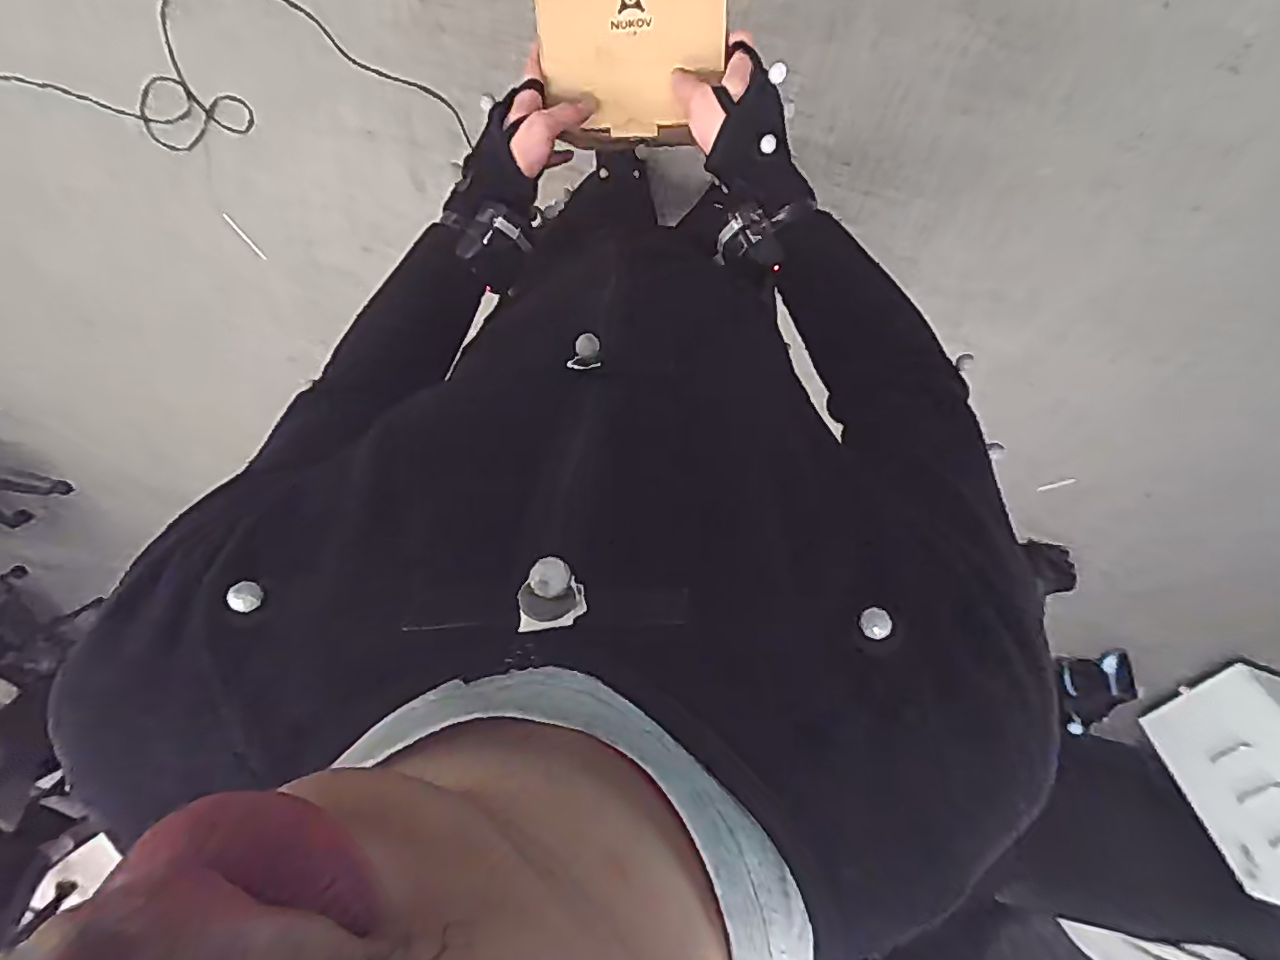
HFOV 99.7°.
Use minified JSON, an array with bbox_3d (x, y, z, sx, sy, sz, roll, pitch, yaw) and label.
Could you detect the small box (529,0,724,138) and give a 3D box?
[{"bbox_3d":[-0.004,-0.437,0.519,0.168,0.176,0.179,0,118,6],"label":"small box"}]
